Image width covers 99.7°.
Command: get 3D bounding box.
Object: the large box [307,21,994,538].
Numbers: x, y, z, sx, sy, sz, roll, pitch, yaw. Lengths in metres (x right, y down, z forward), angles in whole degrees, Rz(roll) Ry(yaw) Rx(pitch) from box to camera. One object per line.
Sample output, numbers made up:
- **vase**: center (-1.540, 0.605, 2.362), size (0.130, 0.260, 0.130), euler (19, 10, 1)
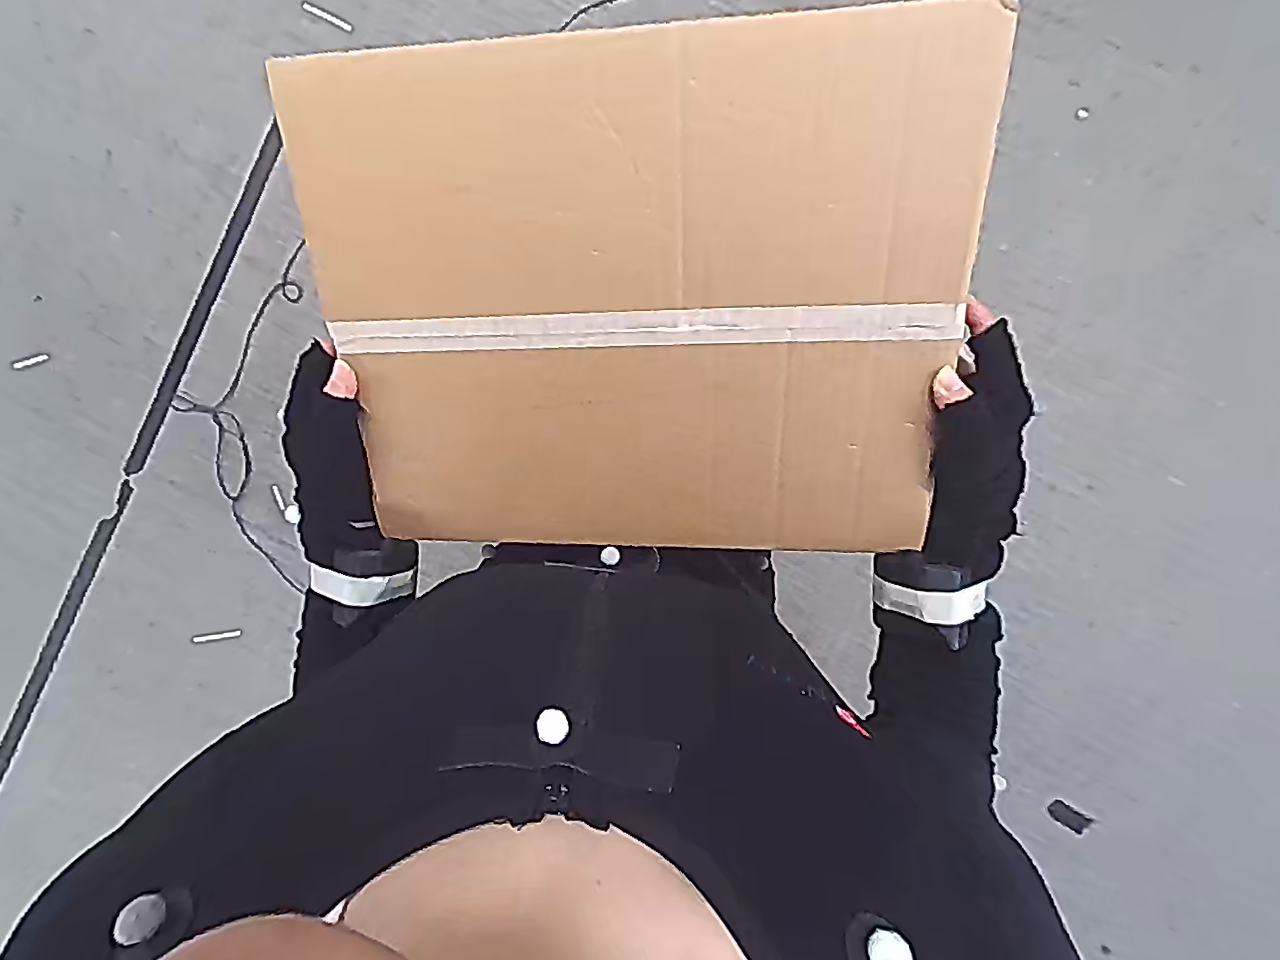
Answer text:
- **large box**: center (0.011, -0.154, 0.498), size (0.408, 0.320, 0.320), euler (1, 113, 7)
